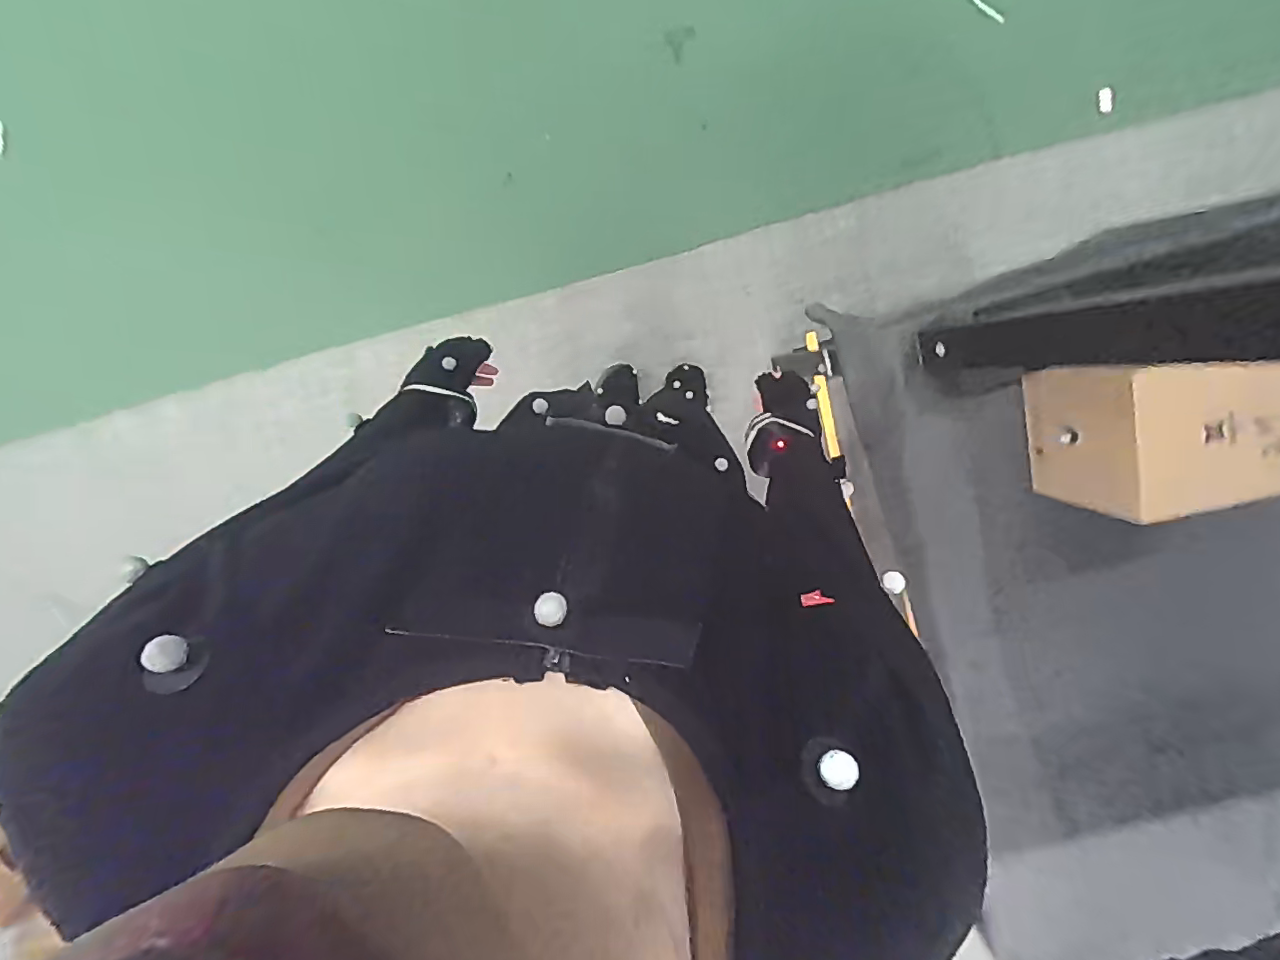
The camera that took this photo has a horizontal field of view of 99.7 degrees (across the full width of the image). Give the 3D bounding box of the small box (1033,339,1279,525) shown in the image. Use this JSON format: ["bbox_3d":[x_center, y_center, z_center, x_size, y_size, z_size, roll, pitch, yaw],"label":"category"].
[{"bbox_3d":[0.600,-0.061,0.637,0.179,0.176,0.168,-13,101,2],"label":"small box"}]
